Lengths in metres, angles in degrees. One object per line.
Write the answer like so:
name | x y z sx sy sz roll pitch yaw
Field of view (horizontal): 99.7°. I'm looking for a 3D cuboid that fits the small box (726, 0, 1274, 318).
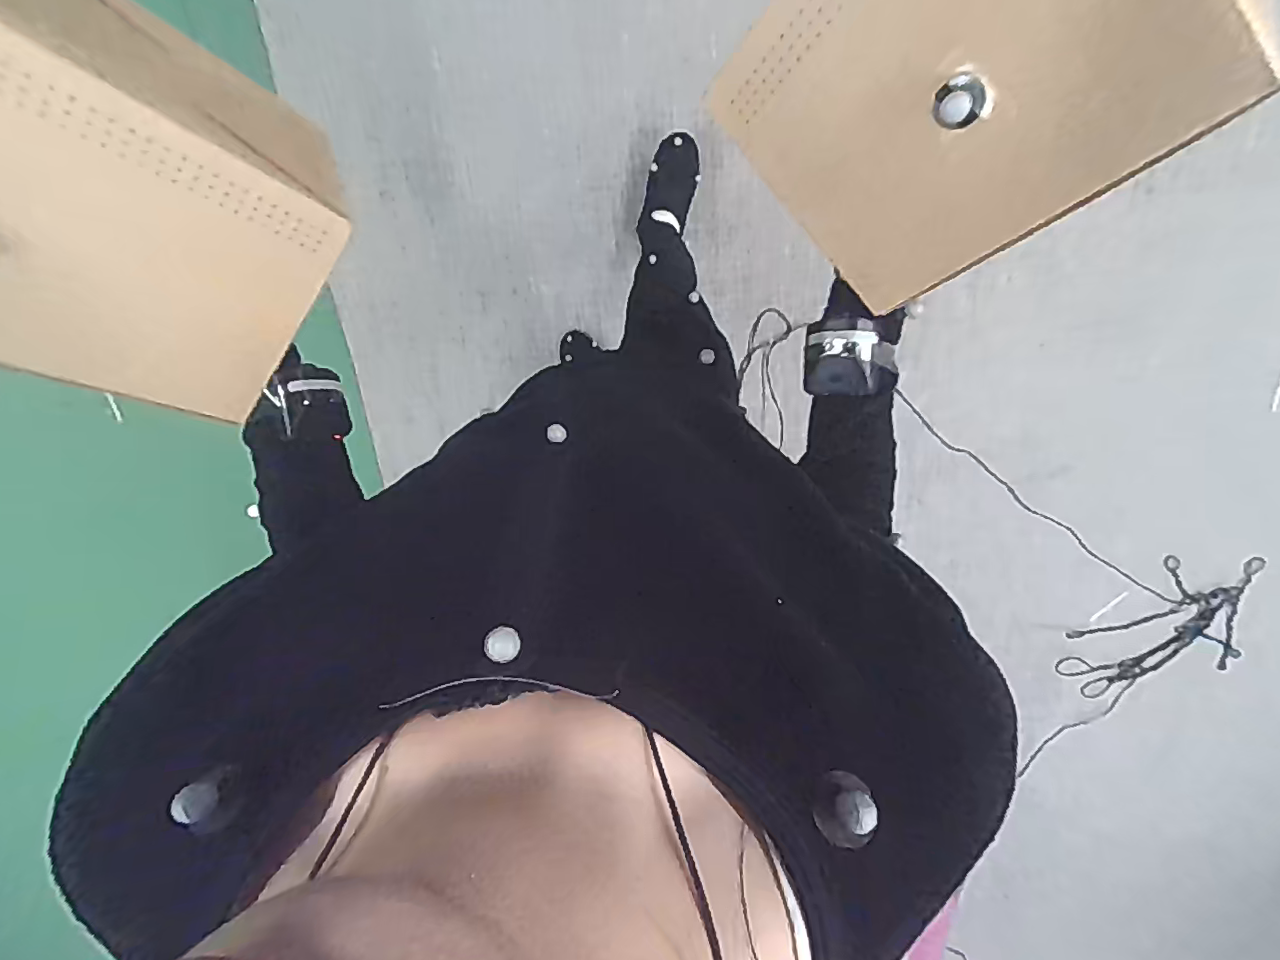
small box | 0.170 -0.230 0.289 0.176 0.168 0.179 43 149 -12
